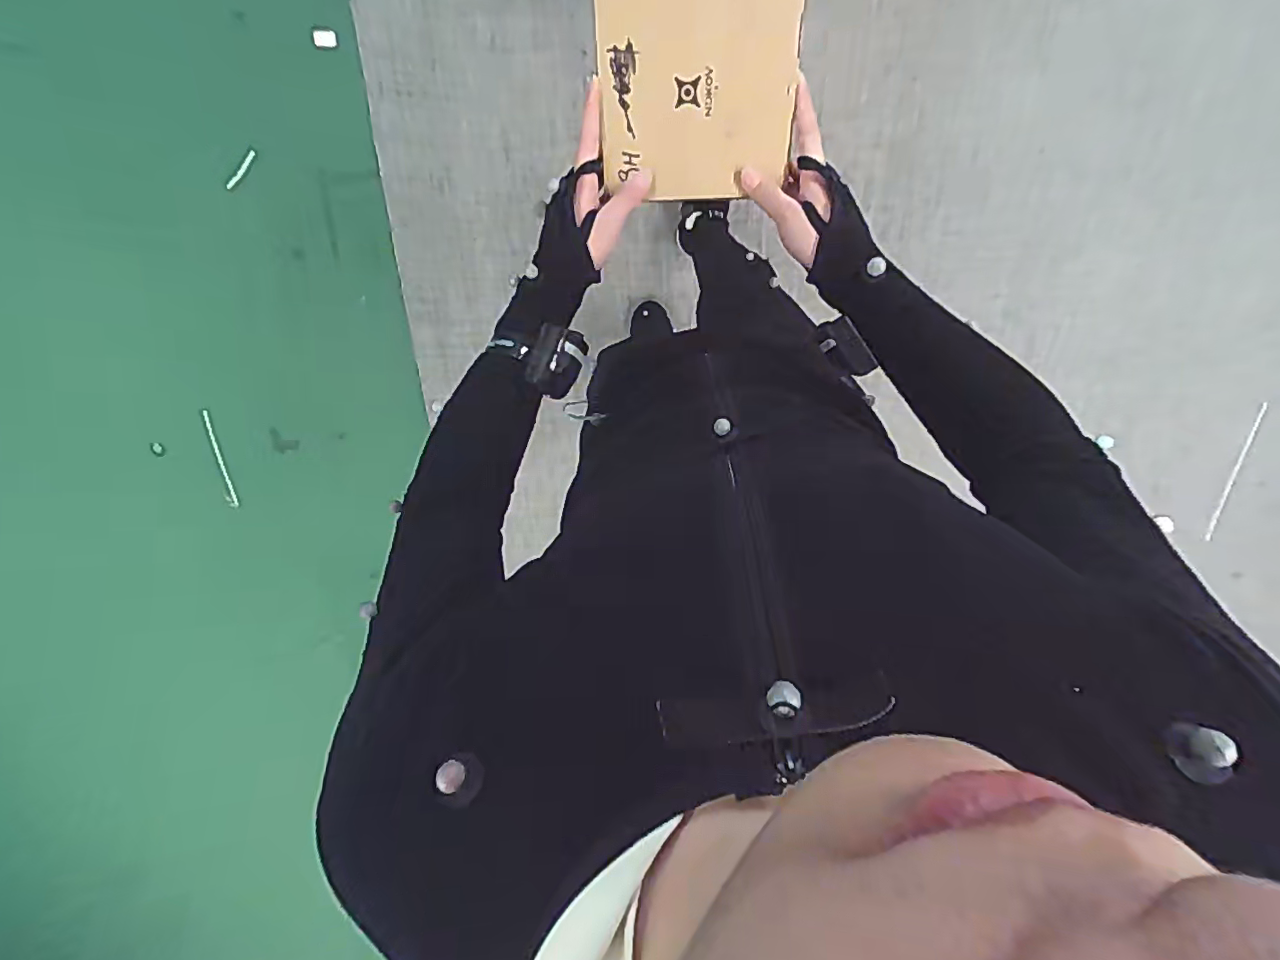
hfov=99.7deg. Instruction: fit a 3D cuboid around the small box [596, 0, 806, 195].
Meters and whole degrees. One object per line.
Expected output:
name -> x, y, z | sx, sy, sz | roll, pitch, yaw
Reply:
small box -> 0.050, -0.382, 0.539 | 0.179, 0.176, 0.168 | -1, 116, 1
